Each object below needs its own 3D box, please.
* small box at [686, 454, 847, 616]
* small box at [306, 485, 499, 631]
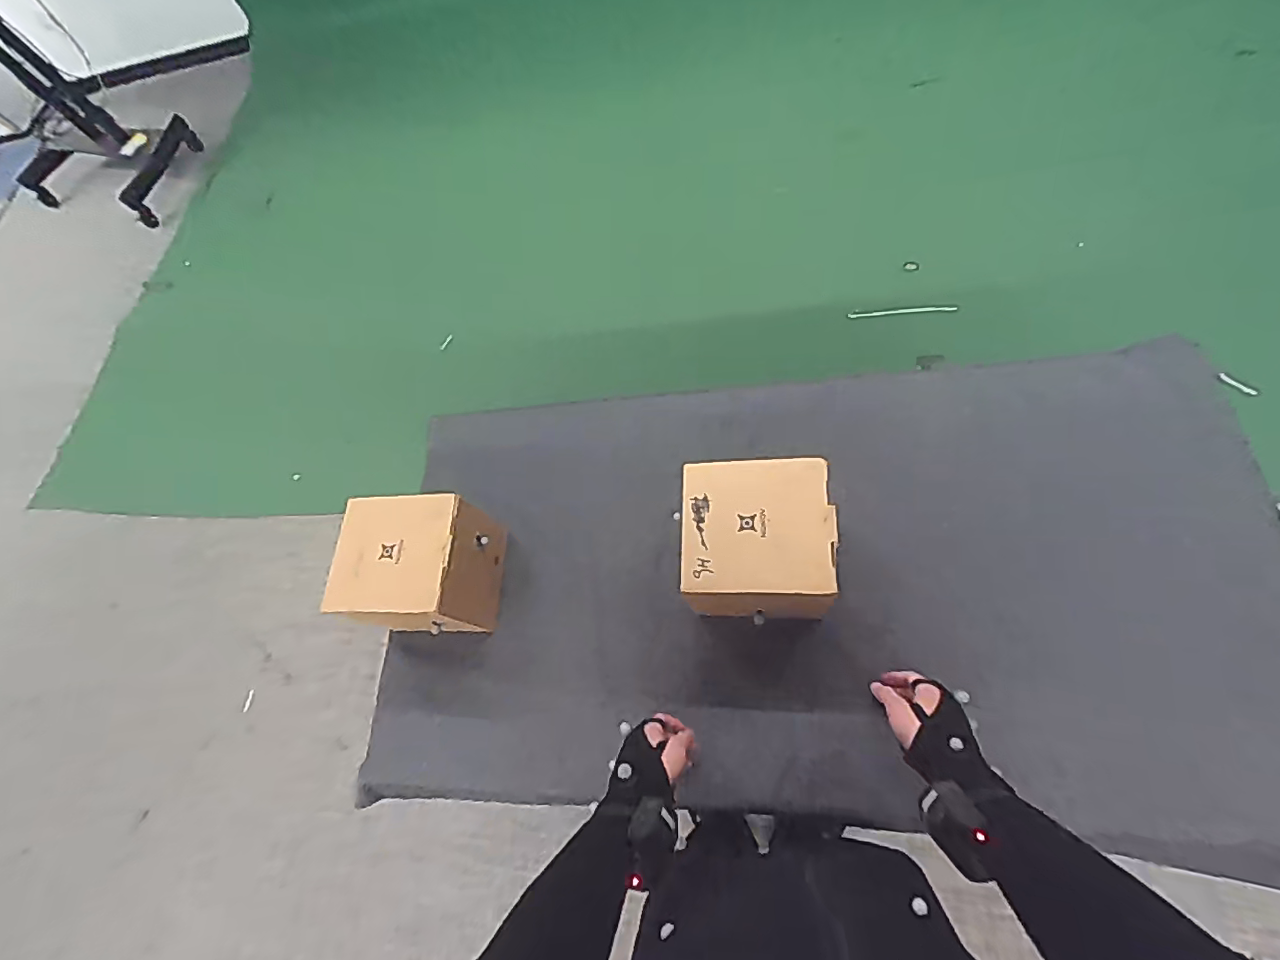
[{"bbox_3d":[0.154,0.077,0.698,0.179,0.176,0.168,0,66,9],"label":"small box"},{"bbox_3d":[-0.320,0.117,0.769,0.179,0.176,0.168,-3,64,10],"label":"small box"}]
